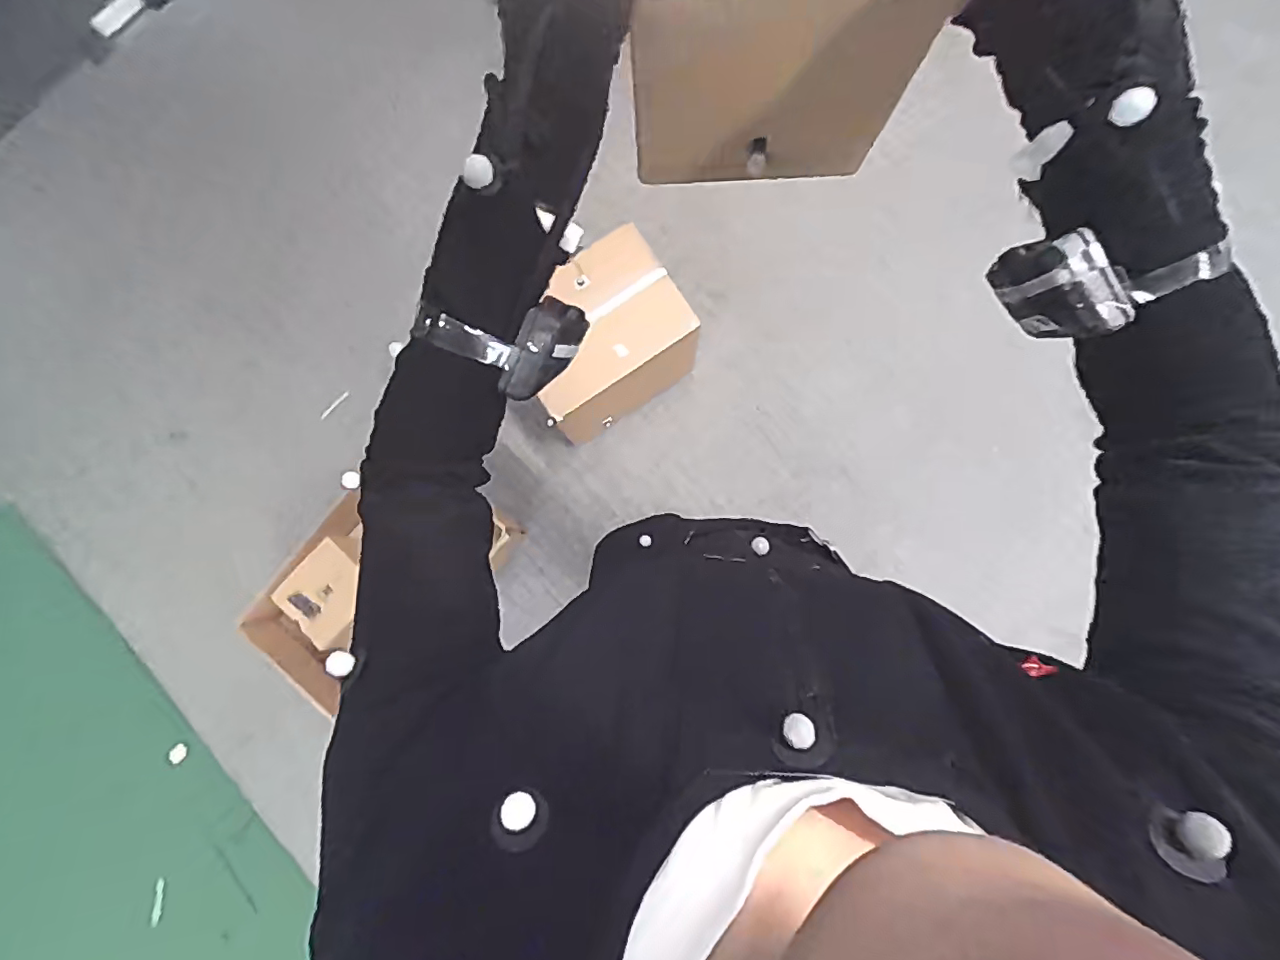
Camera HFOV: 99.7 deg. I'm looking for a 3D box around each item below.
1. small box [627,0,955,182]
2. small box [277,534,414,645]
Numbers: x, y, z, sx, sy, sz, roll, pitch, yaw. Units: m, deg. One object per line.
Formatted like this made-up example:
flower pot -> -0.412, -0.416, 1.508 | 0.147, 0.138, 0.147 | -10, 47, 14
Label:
small box -> 0.080, -0.326, 0.361 | 0.179, 0.176, 0.168 | -1, 86, 1
small box -> -0.652, 0.242, 1.220 | 0.168, 0.176, 0.179 | 42, 86, 7
